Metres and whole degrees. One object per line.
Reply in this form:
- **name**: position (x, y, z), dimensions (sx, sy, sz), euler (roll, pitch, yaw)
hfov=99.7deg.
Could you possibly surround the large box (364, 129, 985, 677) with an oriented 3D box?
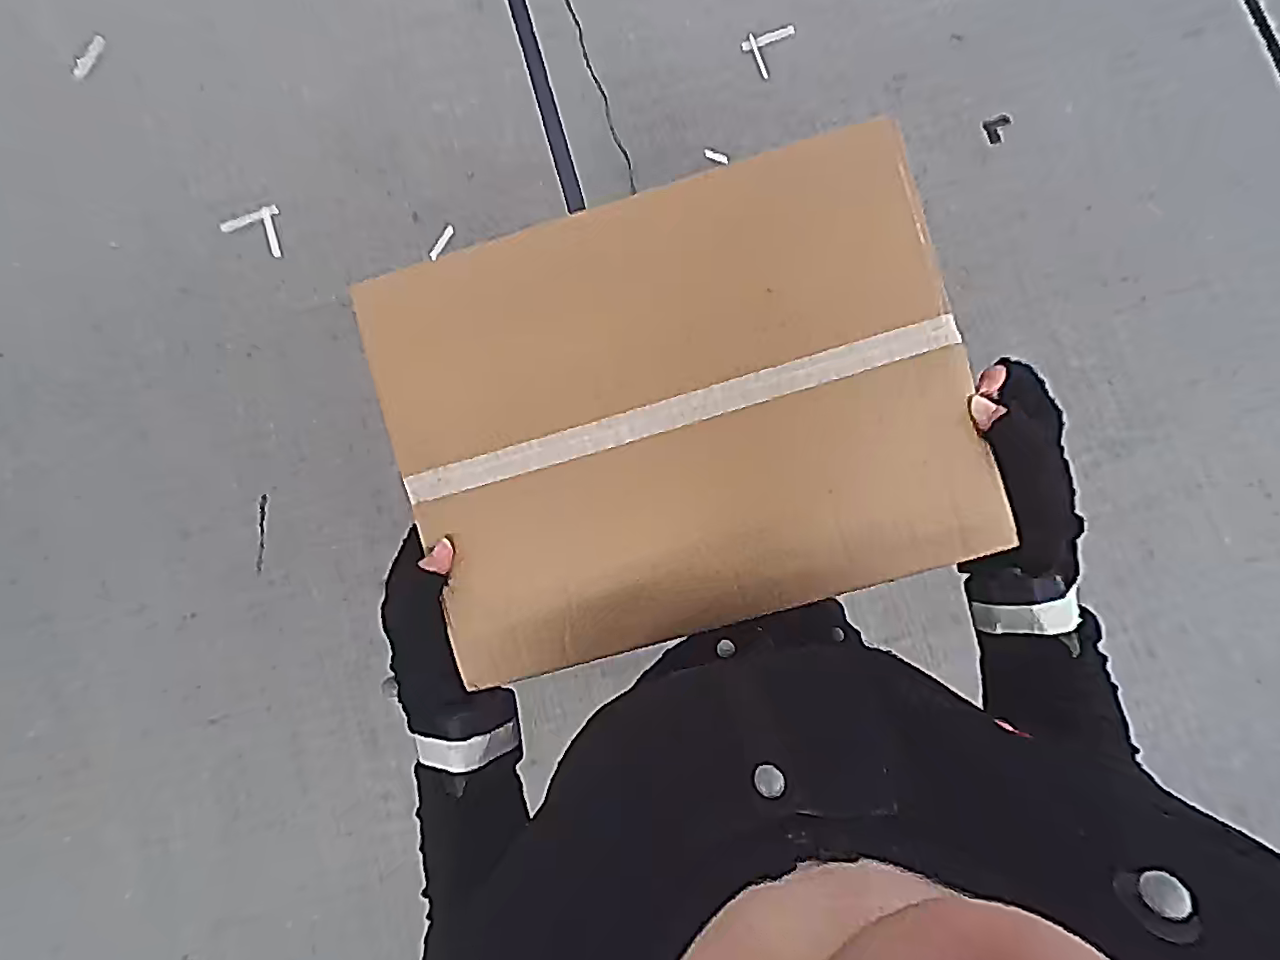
- **large box**: position (0.029, -0.055, 0.548), dimensions (0.408, 0.320, 0.320), euler (-16, 89, 3)
